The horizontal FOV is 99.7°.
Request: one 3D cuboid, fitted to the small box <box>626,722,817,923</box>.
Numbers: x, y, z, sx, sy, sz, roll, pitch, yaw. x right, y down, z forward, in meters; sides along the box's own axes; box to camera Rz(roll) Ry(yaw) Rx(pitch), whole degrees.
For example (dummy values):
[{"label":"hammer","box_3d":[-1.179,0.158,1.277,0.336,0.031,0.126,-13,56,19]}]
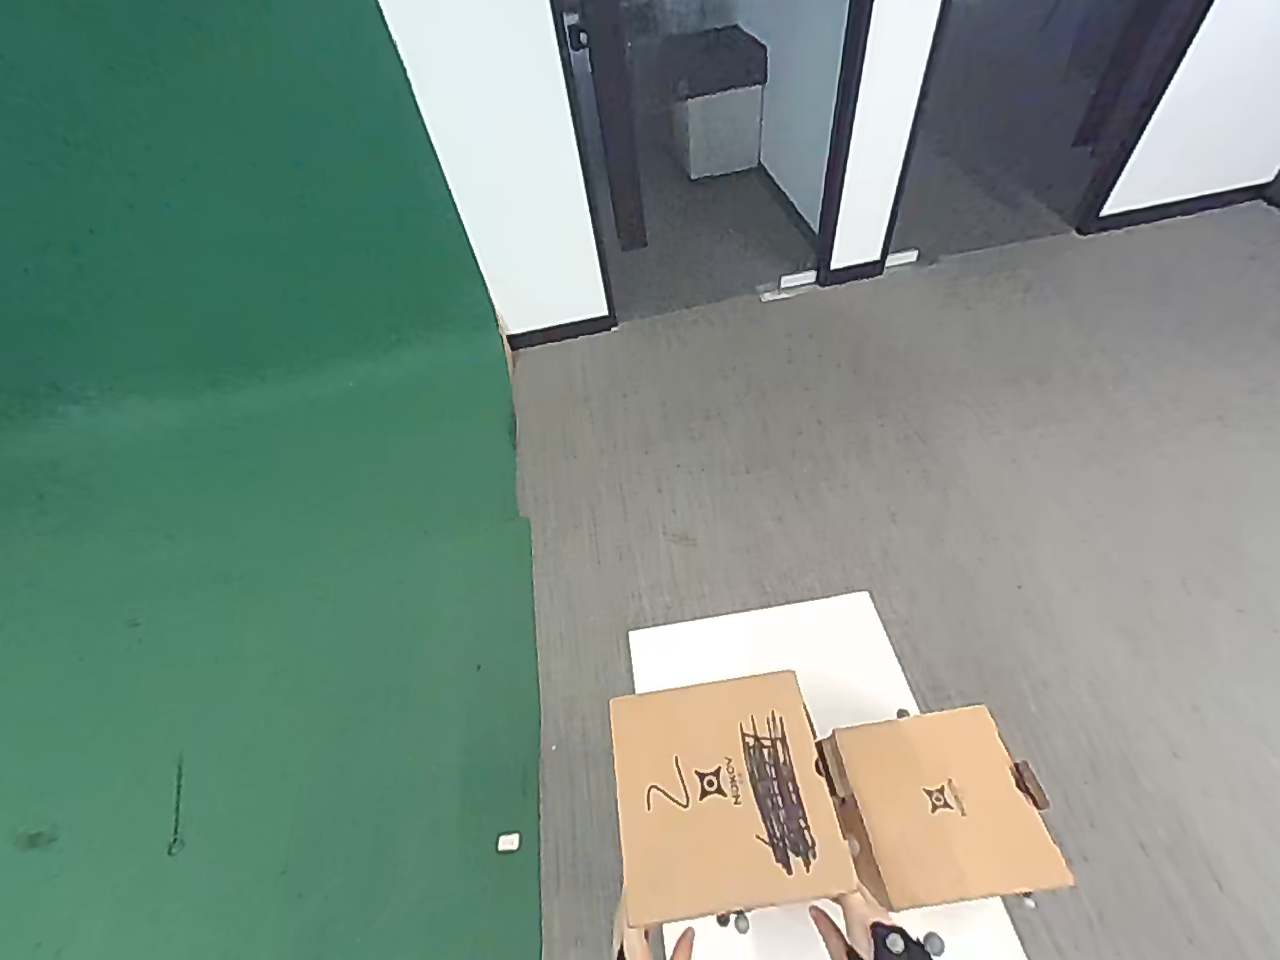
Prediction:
[{"label":"small box","box_3d":[0.088,0.404,0.634,0.179,0.176,0.168,-10,51,0]}]
